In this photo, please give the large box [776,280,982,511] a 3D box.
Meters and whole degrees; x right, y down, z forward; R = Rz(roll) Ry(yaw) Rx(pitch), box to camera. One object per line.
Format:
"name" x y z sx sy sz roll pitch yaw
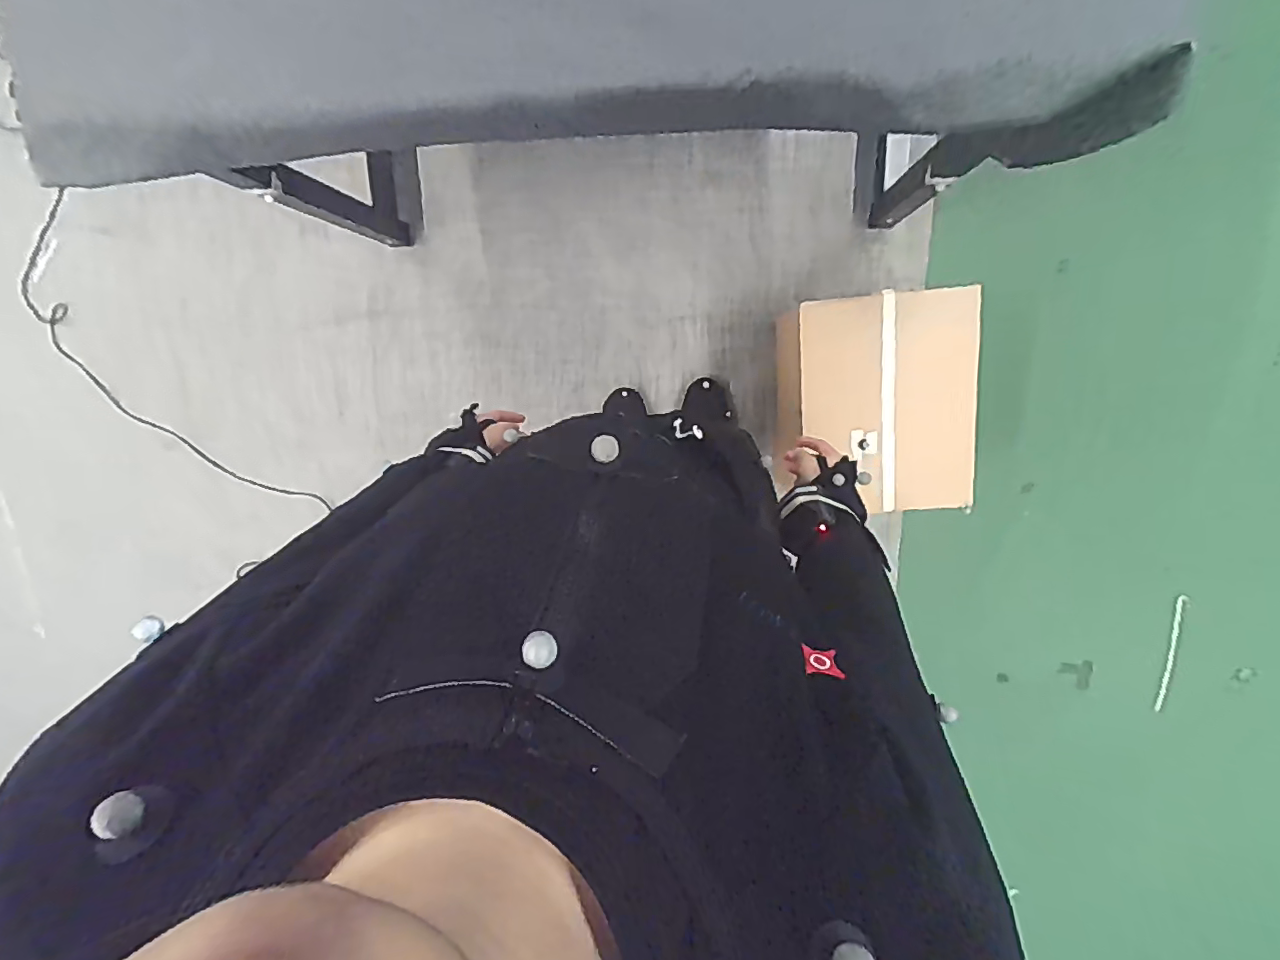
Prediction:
"large box" 0.472 -0.177 1.136 0.320 0.320 0.408 -3 103 7
